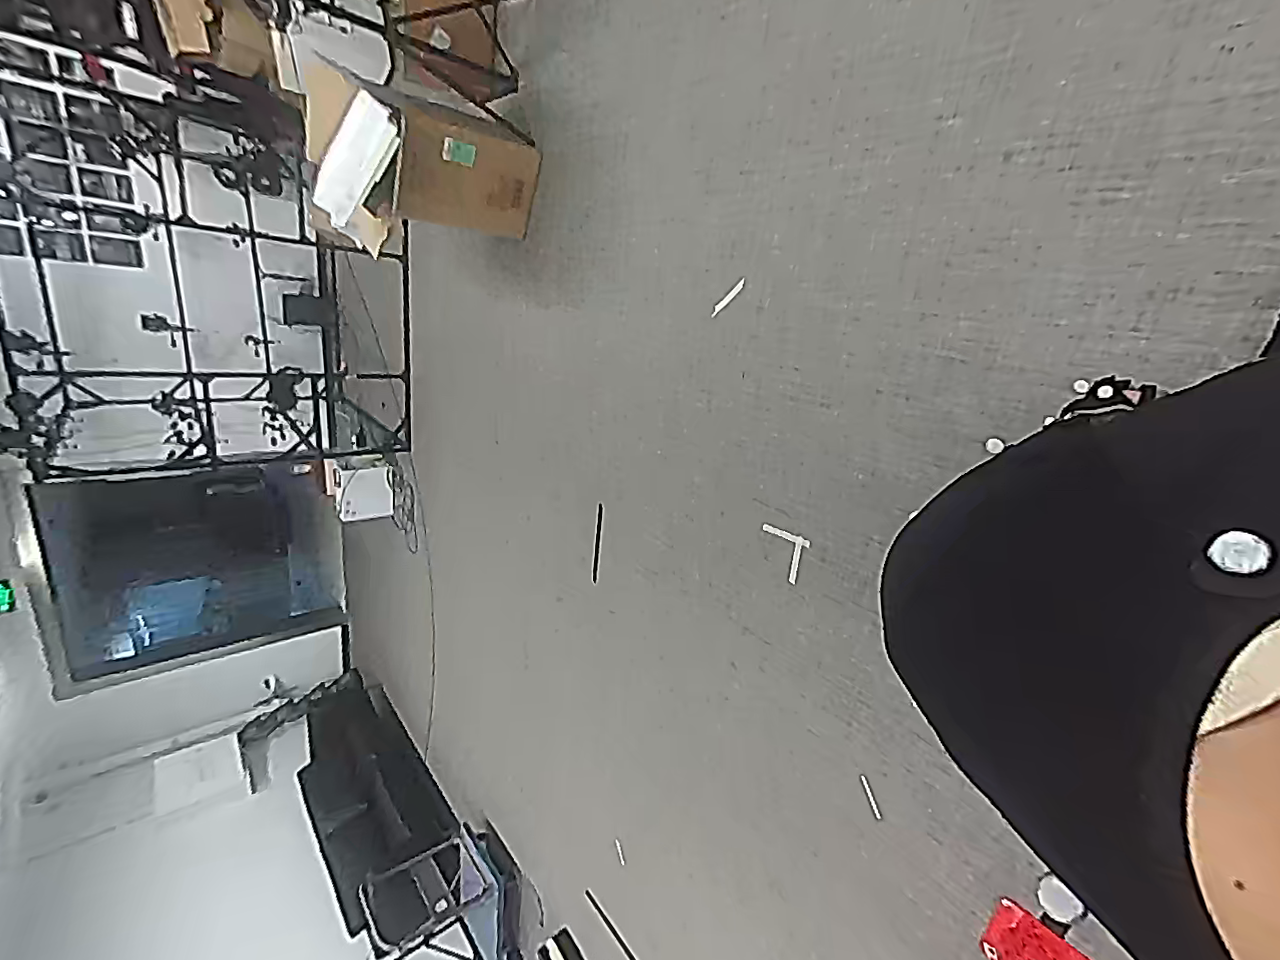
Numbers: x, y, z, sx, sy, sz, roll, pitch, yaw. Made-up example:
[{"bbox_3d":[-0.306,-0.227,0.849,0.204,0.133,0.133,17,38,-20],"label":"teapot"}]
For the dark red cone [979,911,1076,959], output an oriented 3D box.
[{"bbox_3d":[0.806,1.167,1.158,0.201,0.394,0.202,24,114,43],"label":"dark red cone"}]
